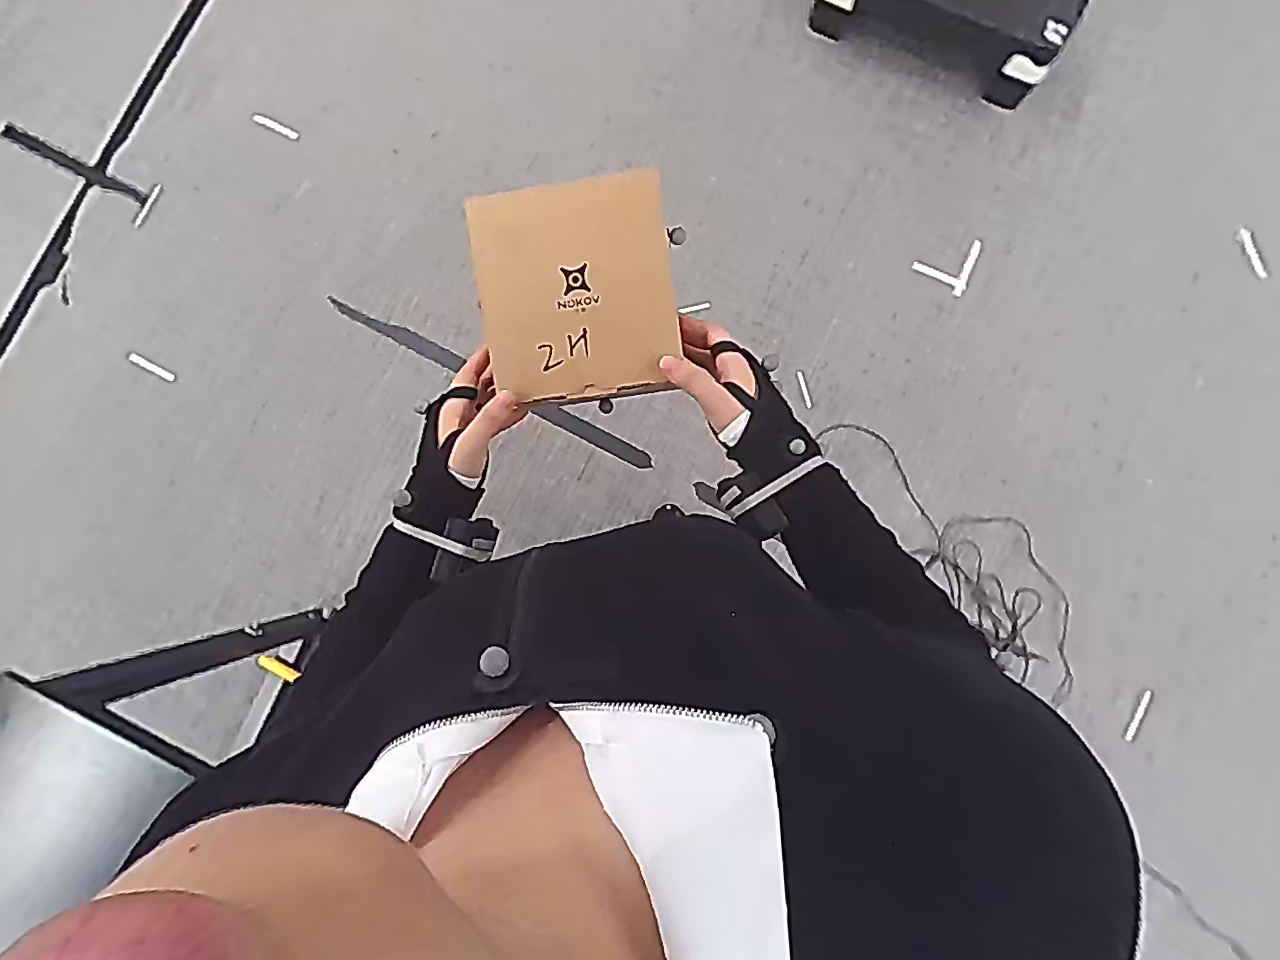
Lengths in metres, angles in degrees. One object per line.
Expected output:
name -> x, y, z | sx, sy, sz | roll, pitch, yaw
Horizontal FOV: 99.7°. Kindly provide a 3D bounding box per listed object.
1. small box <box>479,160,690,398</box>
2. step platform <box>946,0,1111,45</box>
small box -> -0.043, -0.180, 0.537 | 0.168, 0.176, 0.179 | -6, 97, 4
step platform -> 0.834, -1.340, 1.291 | 0.684, 0.204, 0.286 | 25, 86, 2
